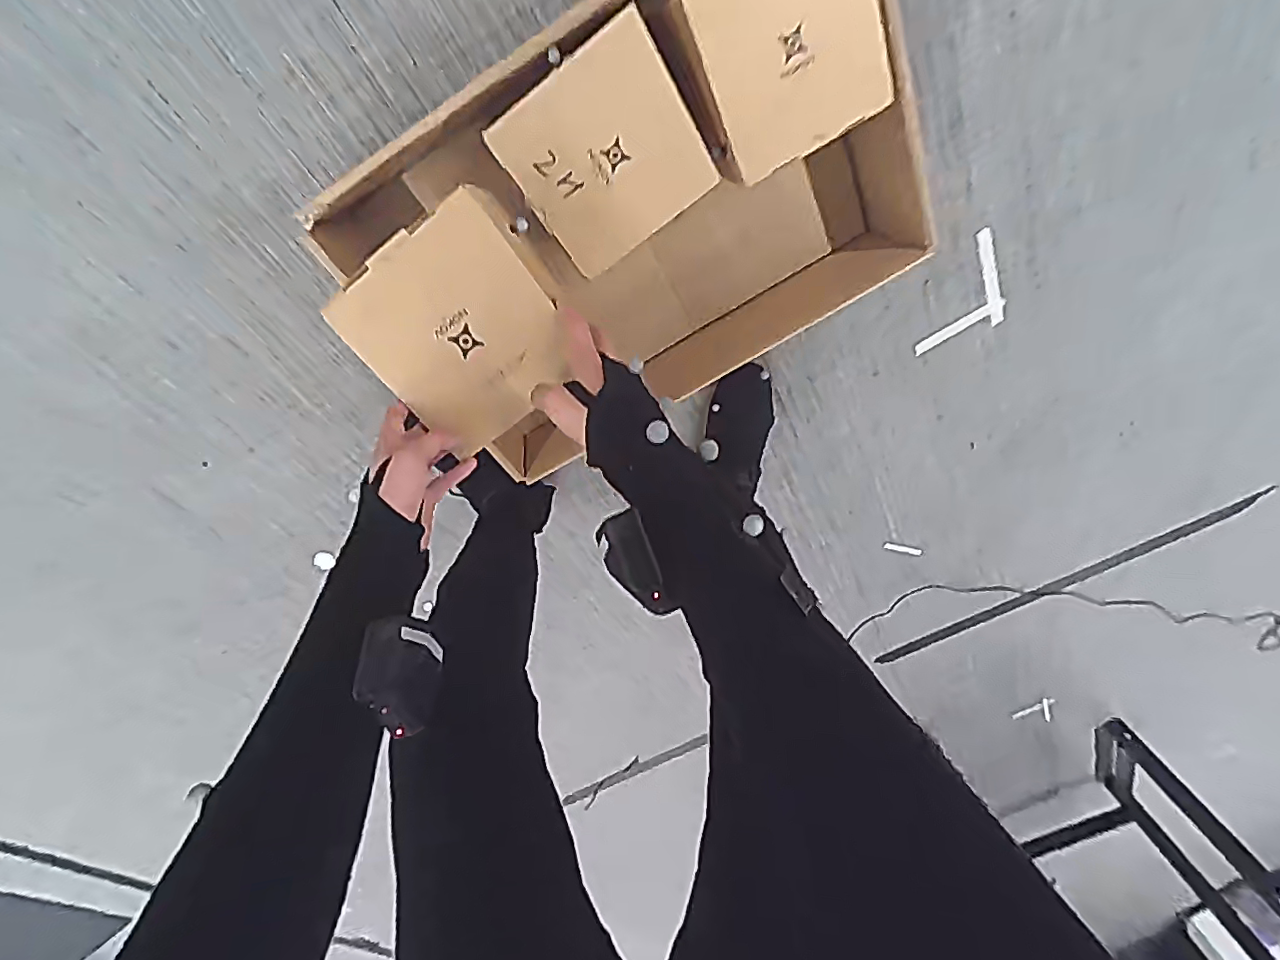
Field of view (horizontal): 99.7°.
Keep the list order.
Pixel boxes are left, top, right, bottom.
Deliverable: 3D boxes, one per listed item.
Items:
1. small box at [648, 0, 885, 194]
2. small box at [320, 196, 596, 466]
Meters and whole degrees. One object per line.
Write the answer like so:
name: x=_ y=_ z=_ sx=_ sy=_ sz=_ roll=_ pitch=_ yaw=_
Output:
small box: x=0.125 y=-0.439 z=0.573 sx=0.168 sy=0.176 sz=0.179 roll=-28 pitch=127 yaw=9
small box: x=-0.162 y=-0.150 z=0.541 sx=0.168 sy=0.176 sz=0.179 roll=-34 pitch=114 yaw=10
